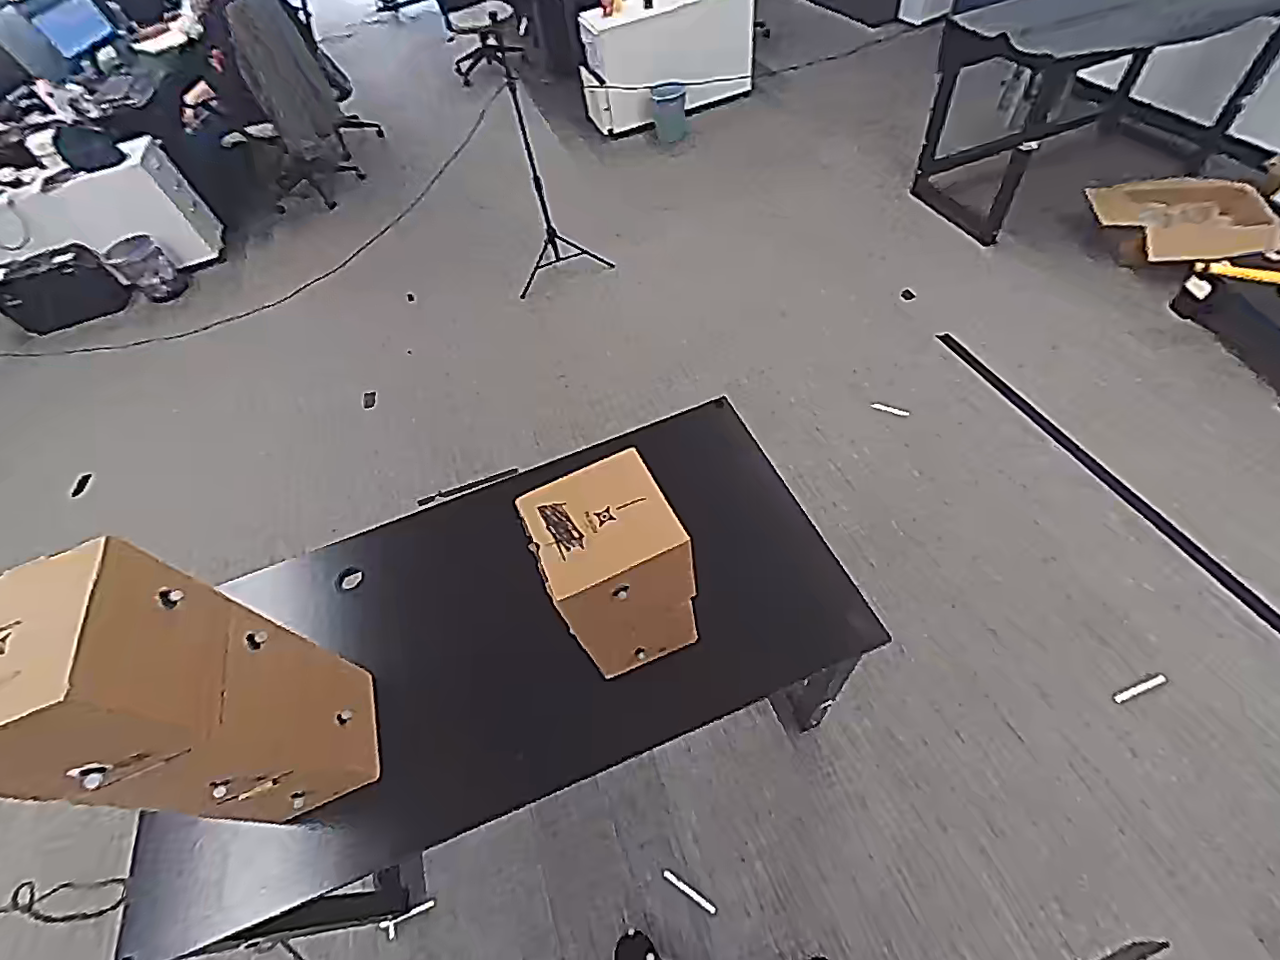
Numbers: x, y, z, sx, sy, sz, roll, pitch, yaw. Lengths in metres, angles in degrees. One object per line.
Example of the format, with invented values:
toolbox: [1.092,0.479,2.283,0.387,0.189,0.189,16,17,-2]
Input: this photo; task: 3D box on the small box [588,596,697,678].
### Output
small box: [-0.018,0.188,0.868,0.168,0.176,0.179,-22,54,-6]

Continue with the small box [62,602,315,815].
small box: [-0.536,0.288,0.675,0.168,0.176,0.179,-22,54,-6]

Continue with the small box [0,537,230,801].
small box: [-0.556,0.194,0.544,0.168,0.176,0.179,-23,55,-6]

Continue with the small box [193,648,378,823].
small box: [-0.514,0.385,0.806,0.168,0.176,0.179,-22,55,-7]

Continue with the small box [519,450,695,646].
small box: [-0.038,0.097,0.732,0.179,0.176,0.168,-24,55,-9]
